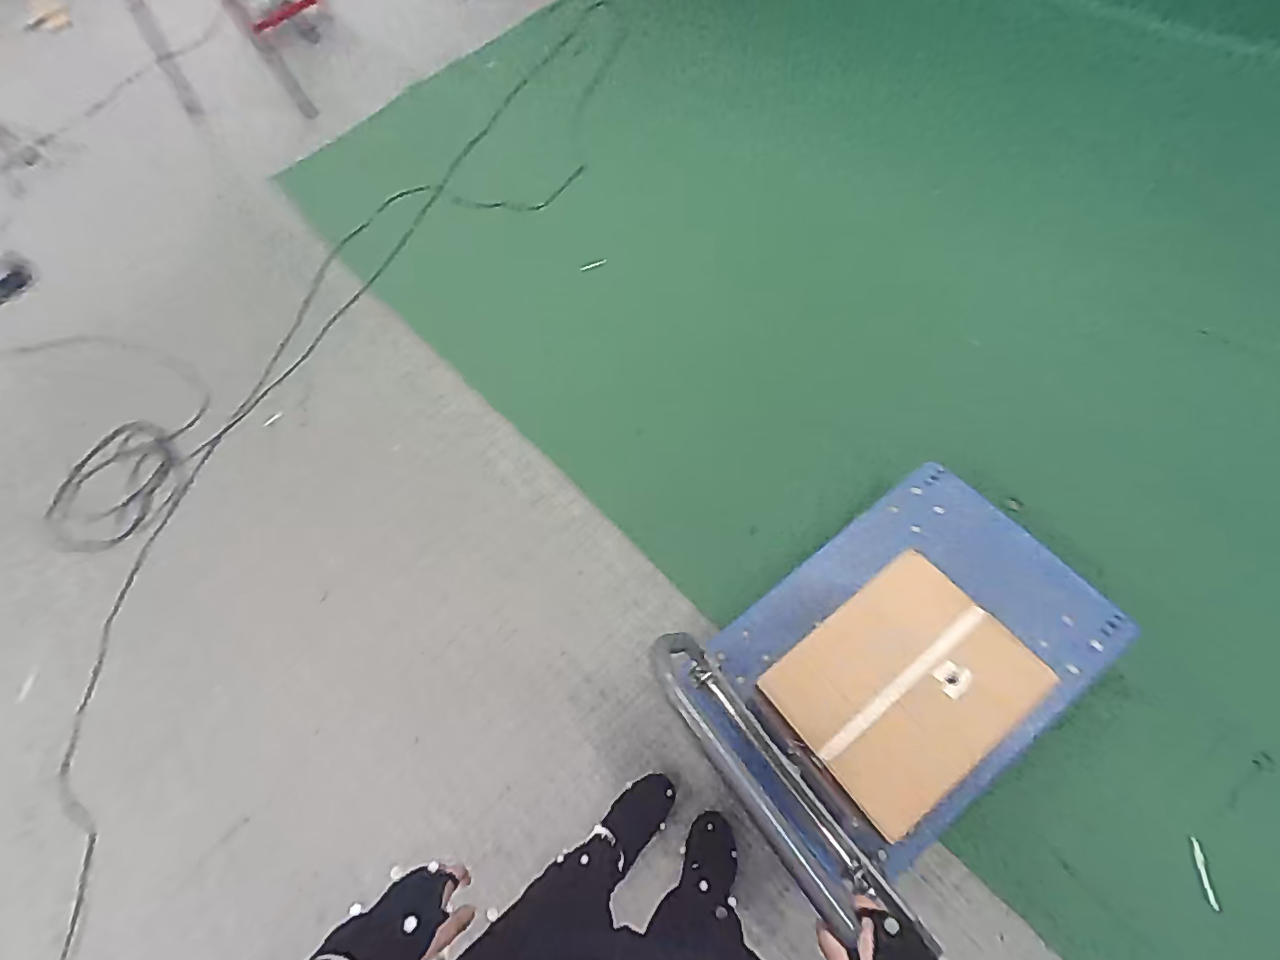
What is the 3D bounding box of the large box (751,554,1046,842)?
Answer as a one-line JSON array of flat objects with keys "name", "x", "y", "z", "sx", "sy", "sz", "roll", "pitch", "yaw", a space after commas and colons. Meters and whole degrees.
[{"name": "large box", "x": 0.476, "y": 0.428, "z": 1.089, "sx": 0.408, "sy": 0.320, "sz": 0.320, "roll": -36, "pitch": 64, "yaw": -9}]
